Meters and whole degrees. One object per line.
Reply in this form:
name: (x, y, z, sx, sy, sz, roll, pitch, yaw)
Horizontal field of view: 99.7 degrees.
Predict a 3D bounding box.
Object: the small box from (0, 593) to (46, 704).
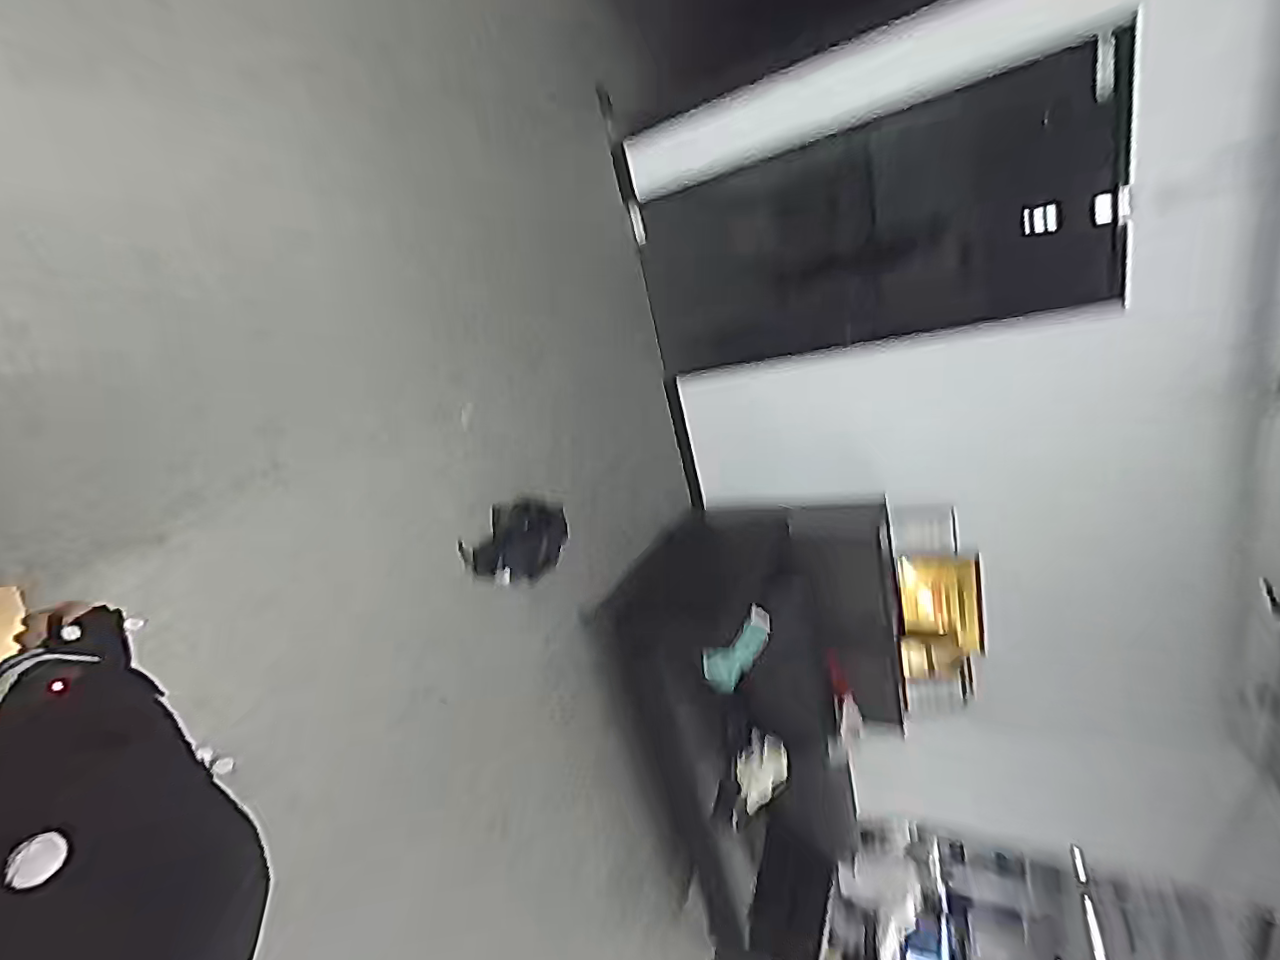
small box: (-1.067, 0.271, 0.816, 0.179, 0.176, 0.168, -22, 106, -59)
